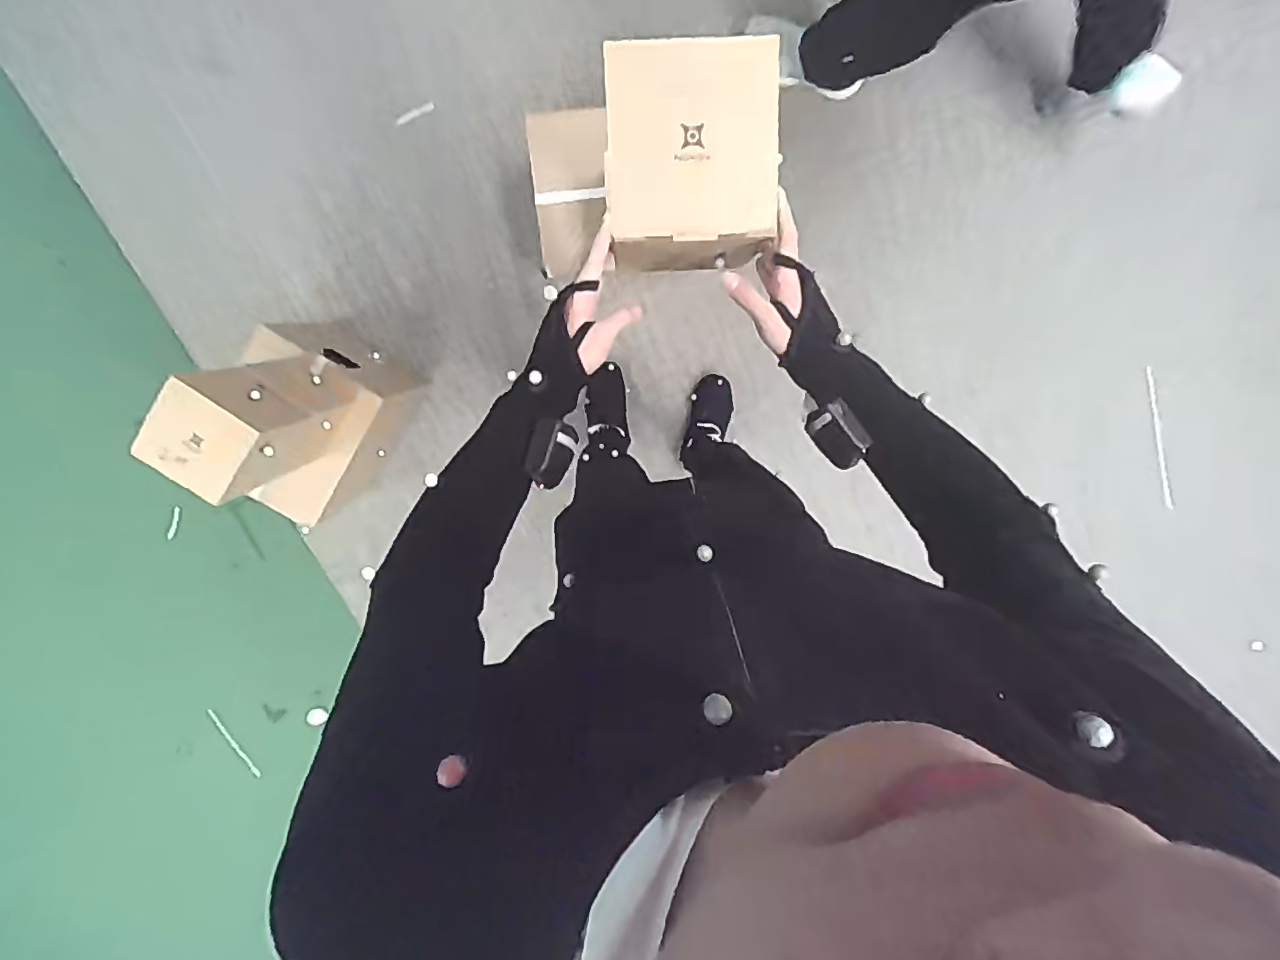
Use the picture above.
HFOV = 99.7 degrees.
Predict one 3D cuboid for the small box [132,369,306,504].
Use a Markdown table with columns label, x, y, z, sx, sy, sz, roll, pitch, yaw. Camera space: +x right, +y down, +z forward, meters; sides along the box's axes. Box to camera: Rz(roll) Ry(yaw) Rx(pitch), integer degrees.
| label | x | y | z | sx | sy | sz | roll | pitch | yaw |
| --- | --- | --- | --- | --- | --- | --- | --- | --- | --- |
| small box | -0.774 | -0.090 | 1.018 | 0.168 | 0.176 | 0.179 | 37 | 103 | -10 |

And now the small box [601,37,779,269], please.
| label | x | y | z | sx | sy | sz | roll | pitch | yaw |
| --- | --- | --- | --- | --- | --- | --- | --- | --- | --- |
| small box | 0.050 | -0.333 | 0.589 | 0.168 | 0.176 | 0.179 | -3 | 102 | 1 |

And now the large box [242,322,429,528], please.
| label | x | y | z | sx | sy | sz | roll | pitch | yaw |
| --- | --- | --- | --- | --- | --- | --- | --- | --- | --- |
| large box | -0.828 | -0.159 | 1.427 | 0.320 | 0.320 | 0.408 | 33 | 105 | -8 |
